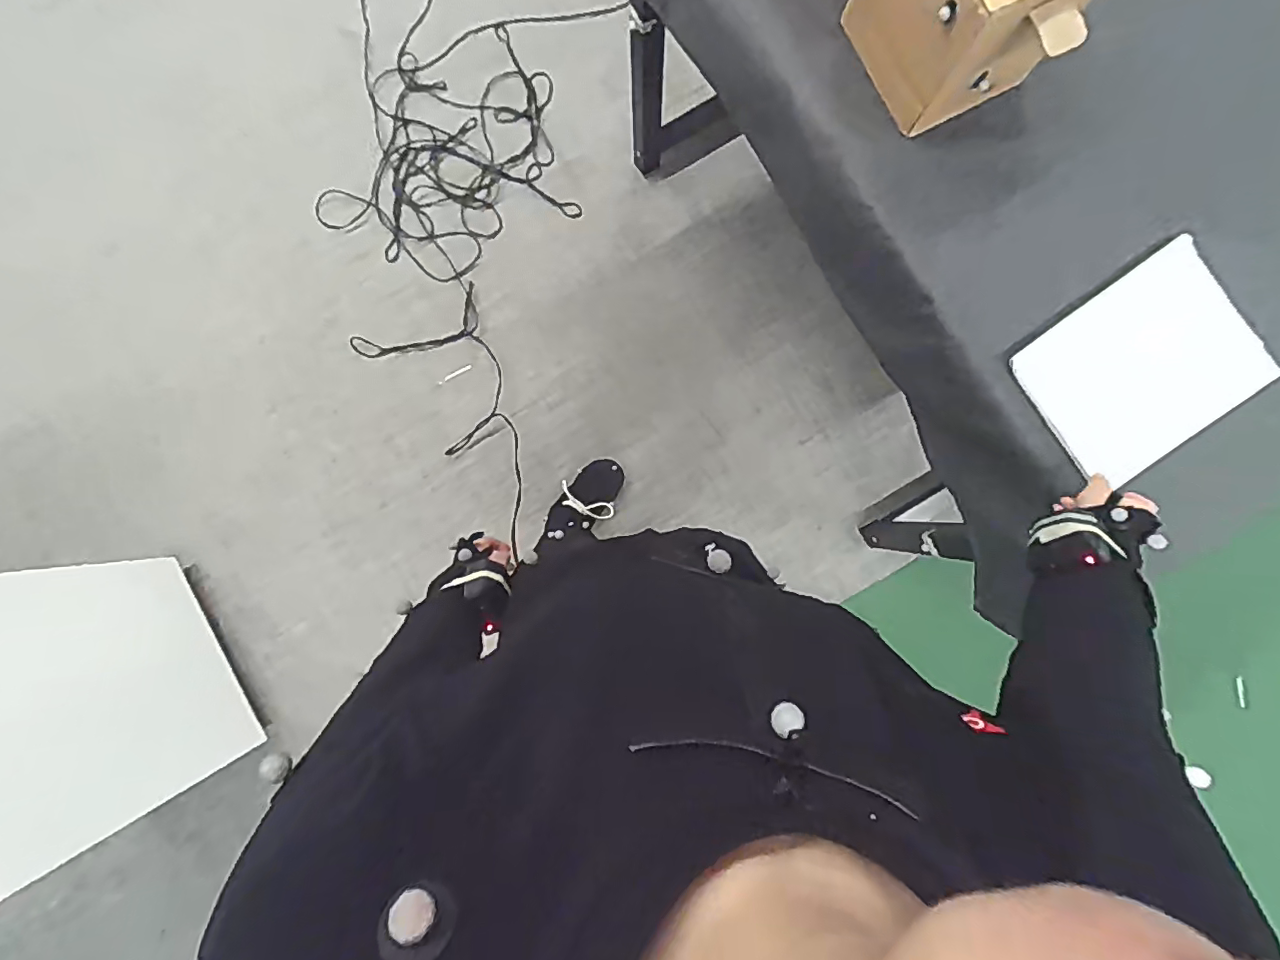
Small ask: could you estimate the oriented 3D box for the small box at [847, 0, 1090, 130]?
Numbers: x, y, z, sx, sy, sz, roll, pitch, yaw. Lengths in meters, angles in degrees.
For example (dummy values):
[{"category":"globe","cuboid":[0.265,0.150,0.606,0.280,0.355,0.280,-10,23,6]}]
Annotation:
[{"category":"small box","cuboid":[0.357,-0.537,0.586,0.168,0.176,0.179,-27,87,-2]}]
